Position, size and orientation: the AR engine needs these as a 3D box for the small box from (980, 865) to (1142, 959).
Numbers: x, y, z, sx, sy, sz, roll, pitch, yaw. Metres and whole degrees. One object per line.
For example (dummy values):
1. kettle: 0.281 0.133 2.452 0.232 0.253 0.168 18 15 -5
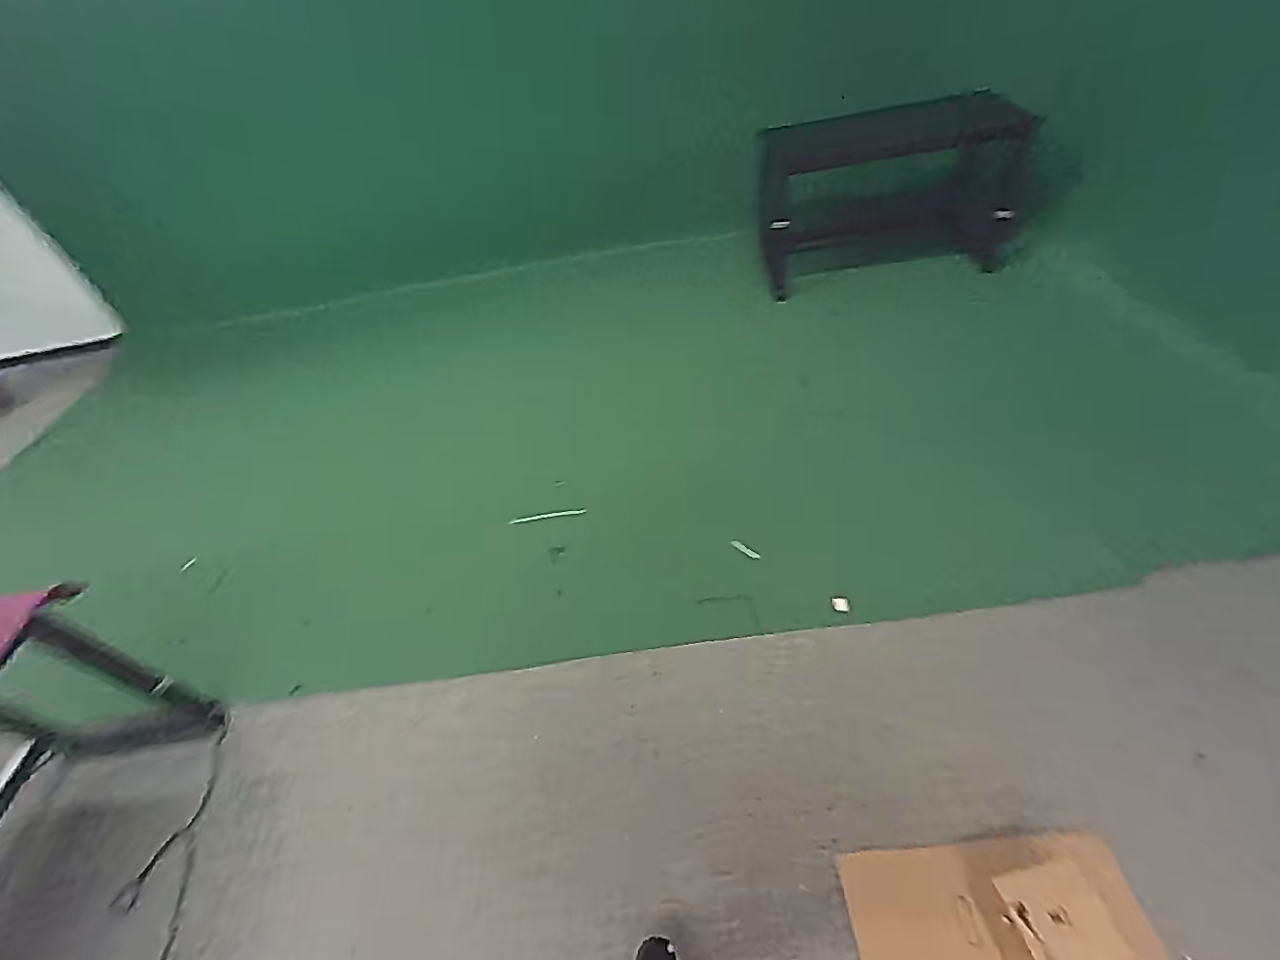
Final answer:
1. small box: 0.837 0.906 1.094 0.179 0.176 0.168 -13 45 -1
